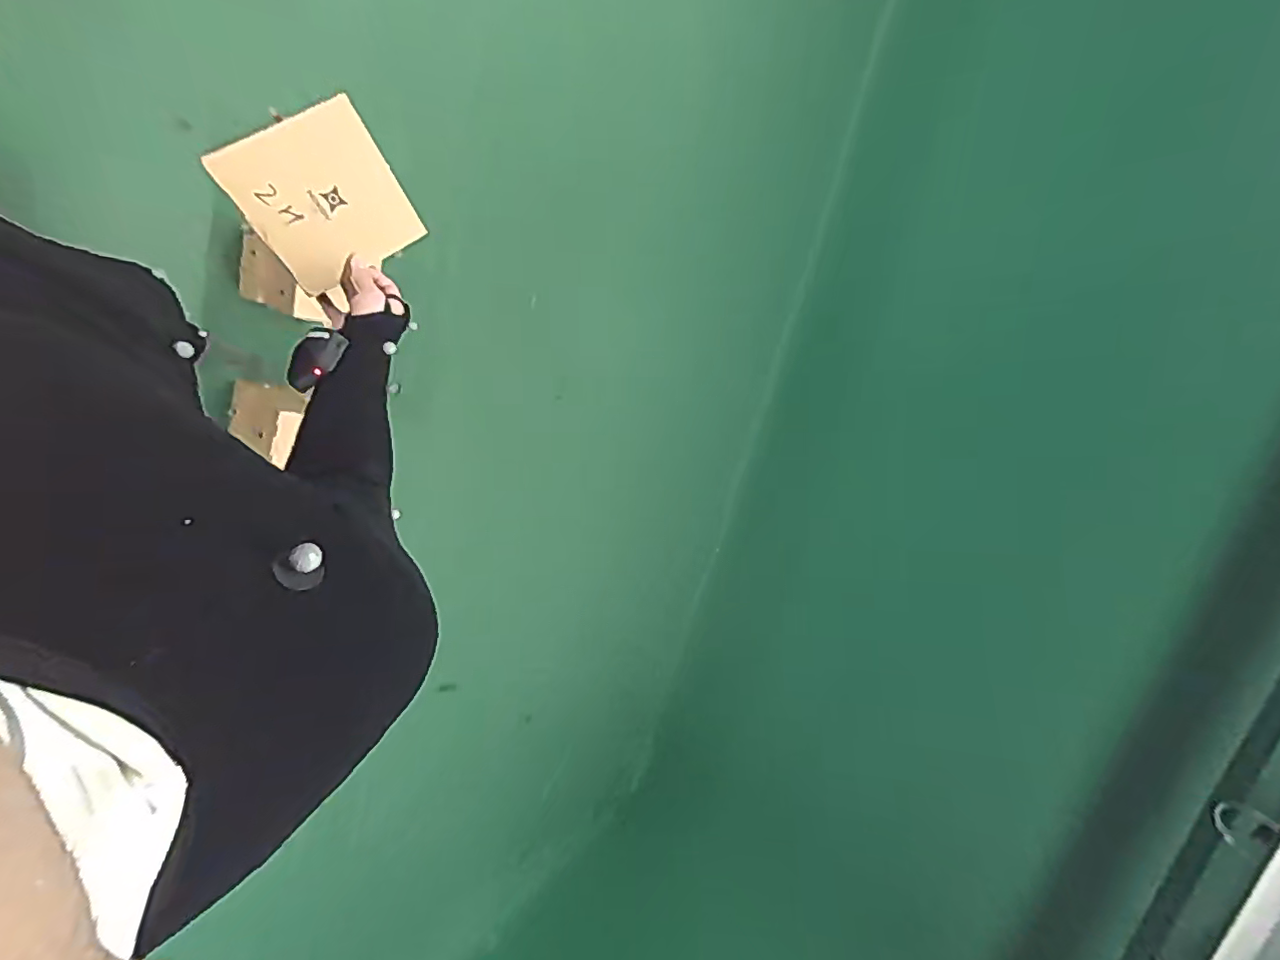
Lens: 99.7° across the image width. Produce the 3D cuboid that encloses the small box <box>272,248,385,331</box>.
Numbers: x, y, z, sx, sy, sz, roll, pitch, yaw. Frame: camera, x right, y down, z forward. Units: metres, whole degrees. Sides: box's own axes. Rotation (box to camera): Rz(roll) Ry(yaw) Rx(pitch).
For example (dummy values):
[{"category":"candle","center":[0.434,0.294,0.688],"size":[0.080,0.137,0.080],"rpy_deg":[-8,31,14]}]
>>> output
[{"category":"small box","center":[-0.704,-0.451,1.215],"size":[0.168,0.176,0.179],"rpy_deg":[-1,109,-51]}]

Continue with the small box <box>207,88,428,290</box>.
[{"category":"small box","center":[-0.414,-0.378,0.698],"size":[0.179,0.176,0.168],"rpy_deg":[-37,133,-13]}]

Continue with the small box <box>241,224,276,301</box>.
[{"category":"small box","center":[-0.832,-0.505,1.300],"size":[0.179,0.176,0.168],"rpy_deg":[-1,109,-51]}]

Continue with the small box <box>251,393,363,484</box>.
[{"category":"small box","center":[-0.797,-0.101,1.289],"size":[0.179,0.176,0.168],"rpy_deg":[7,105,-50]}]
